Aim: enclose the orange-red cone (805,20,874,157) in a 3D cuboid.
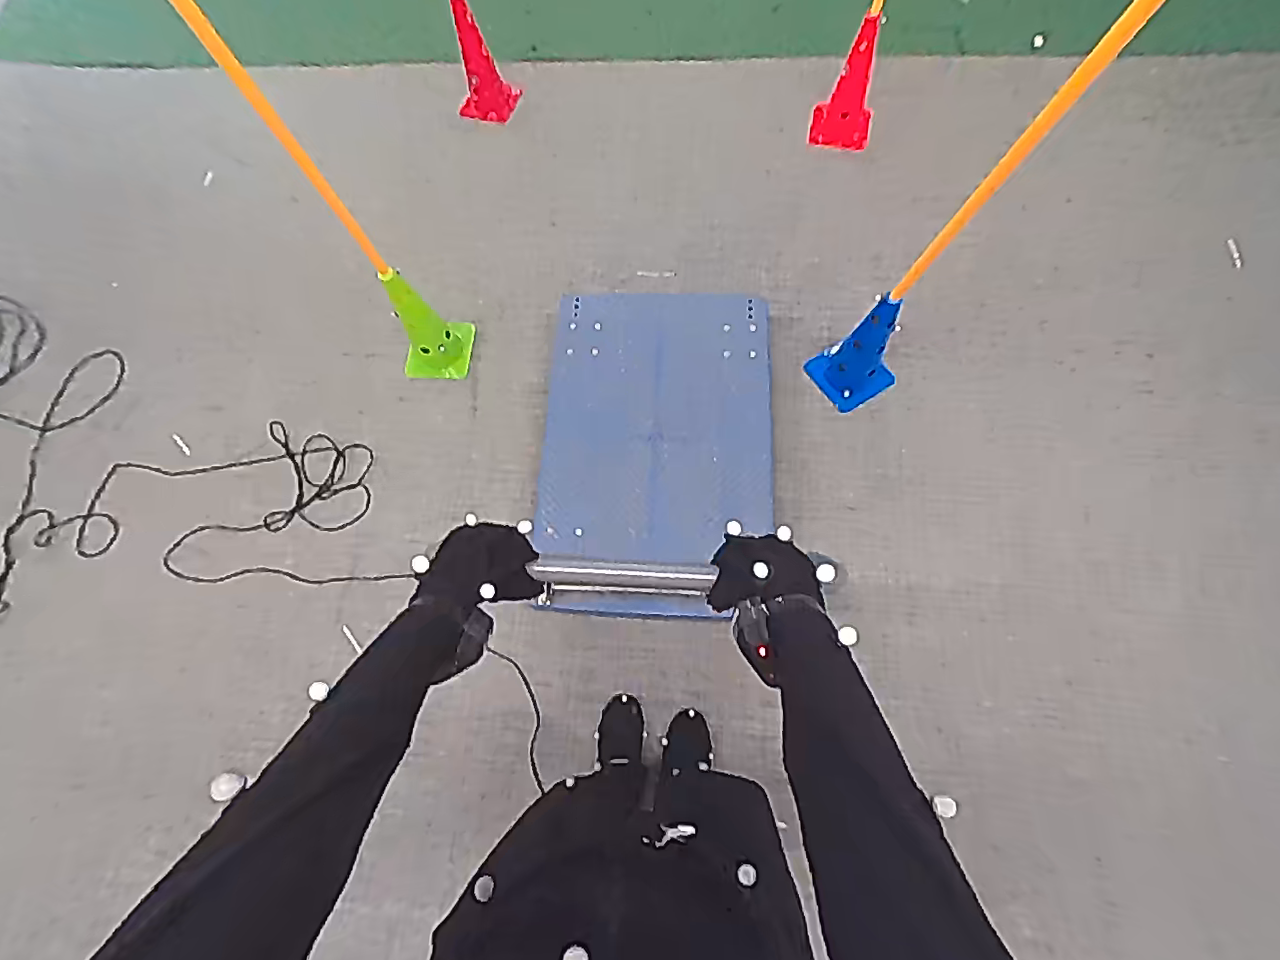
[{"bbox_3d":[0.684,-1.280,1.753,0.198,0.360,0.199,13,73,9],"label":"orange-red cone"}]
